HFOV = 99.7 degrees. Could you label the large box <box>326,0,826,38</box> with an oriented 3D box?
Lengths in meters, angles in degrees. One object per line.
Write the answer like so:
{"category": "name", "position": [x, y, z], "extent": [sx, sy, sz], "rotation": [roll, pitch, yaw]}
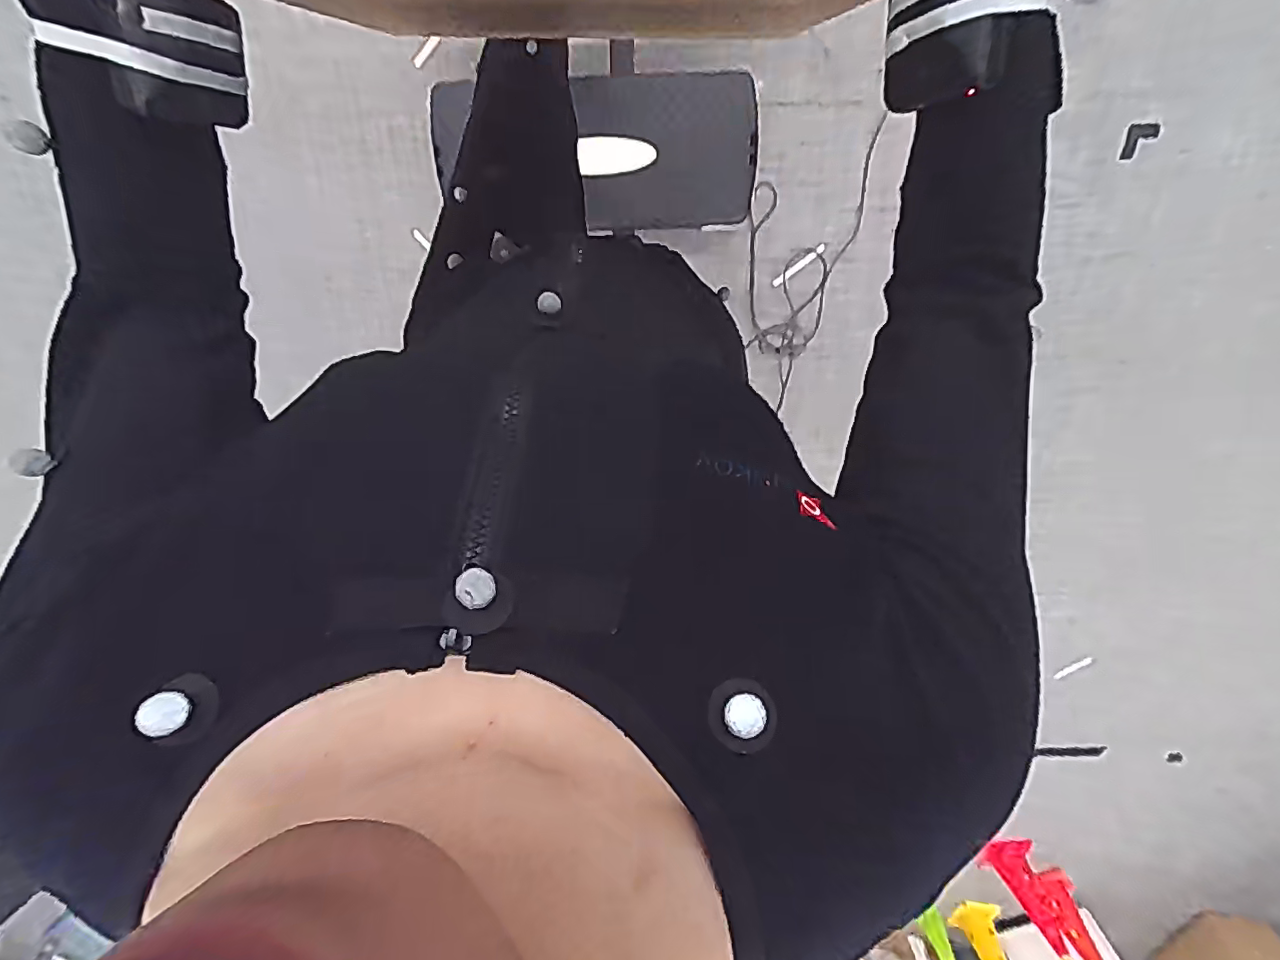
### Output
{"category": "large box", "position": [-0.044, -0.500, 0.339], "extent": [0.408, 0.320, 0.320], "rotation": [-1, 124, -1]}
